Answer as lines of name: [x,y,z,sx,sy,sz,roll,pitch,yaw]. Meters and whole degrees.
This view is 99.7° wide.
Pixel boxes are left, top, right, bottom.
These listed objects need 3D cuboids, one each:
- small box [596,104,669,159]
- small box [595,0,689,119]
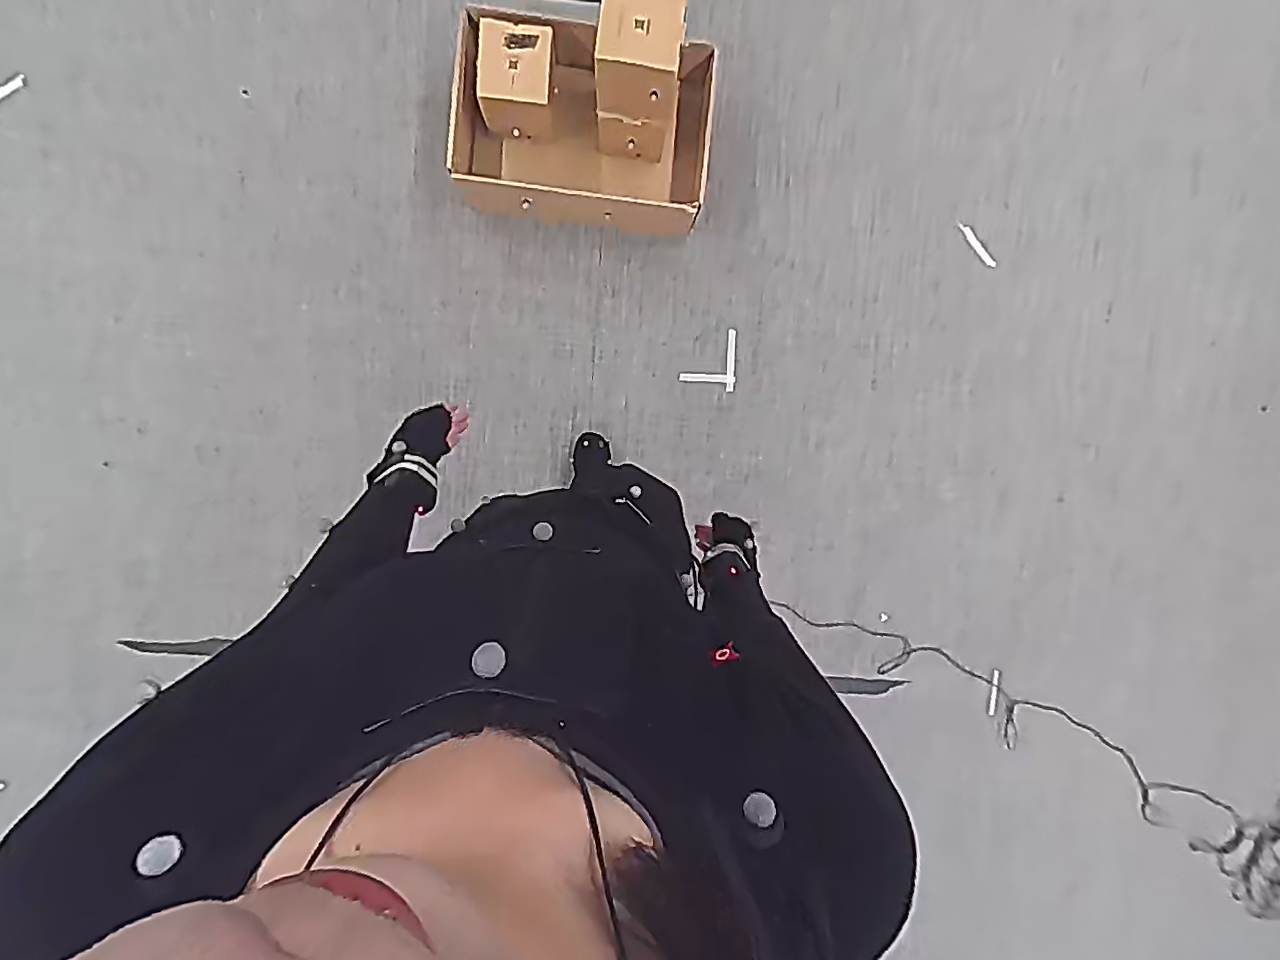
small box: [-0.011,-0.932,1.342,0.168,0.176,0.179,7,94,-1]
small box: [0.001,-0.926,1.178,0.179,0.176,0.168,7,91,-2]
